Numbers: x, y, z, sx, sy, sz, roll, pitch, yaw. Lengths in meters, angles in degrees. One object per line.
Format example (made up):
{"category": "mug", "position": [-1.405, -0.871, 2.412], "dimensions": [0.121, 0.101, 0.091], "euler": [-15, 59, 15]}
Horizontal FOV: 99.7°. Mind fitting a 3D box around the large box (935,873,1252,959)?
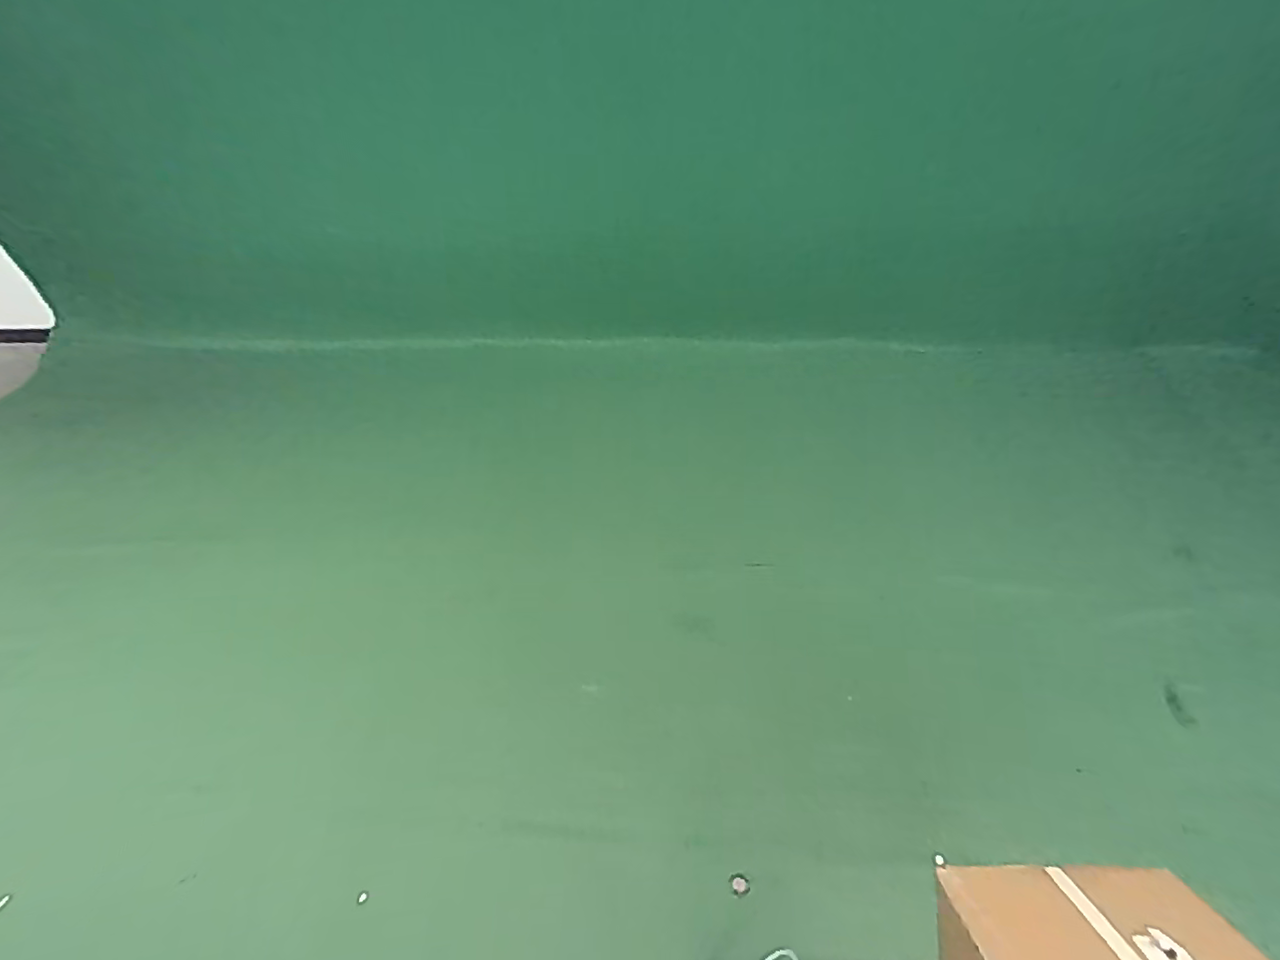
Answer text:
{"category": "large box", "position": [0.569, 0.724, 0.576], "dimensions": [0.320, 0.320, 0.408], "euler": [-3, 2, 6]}
